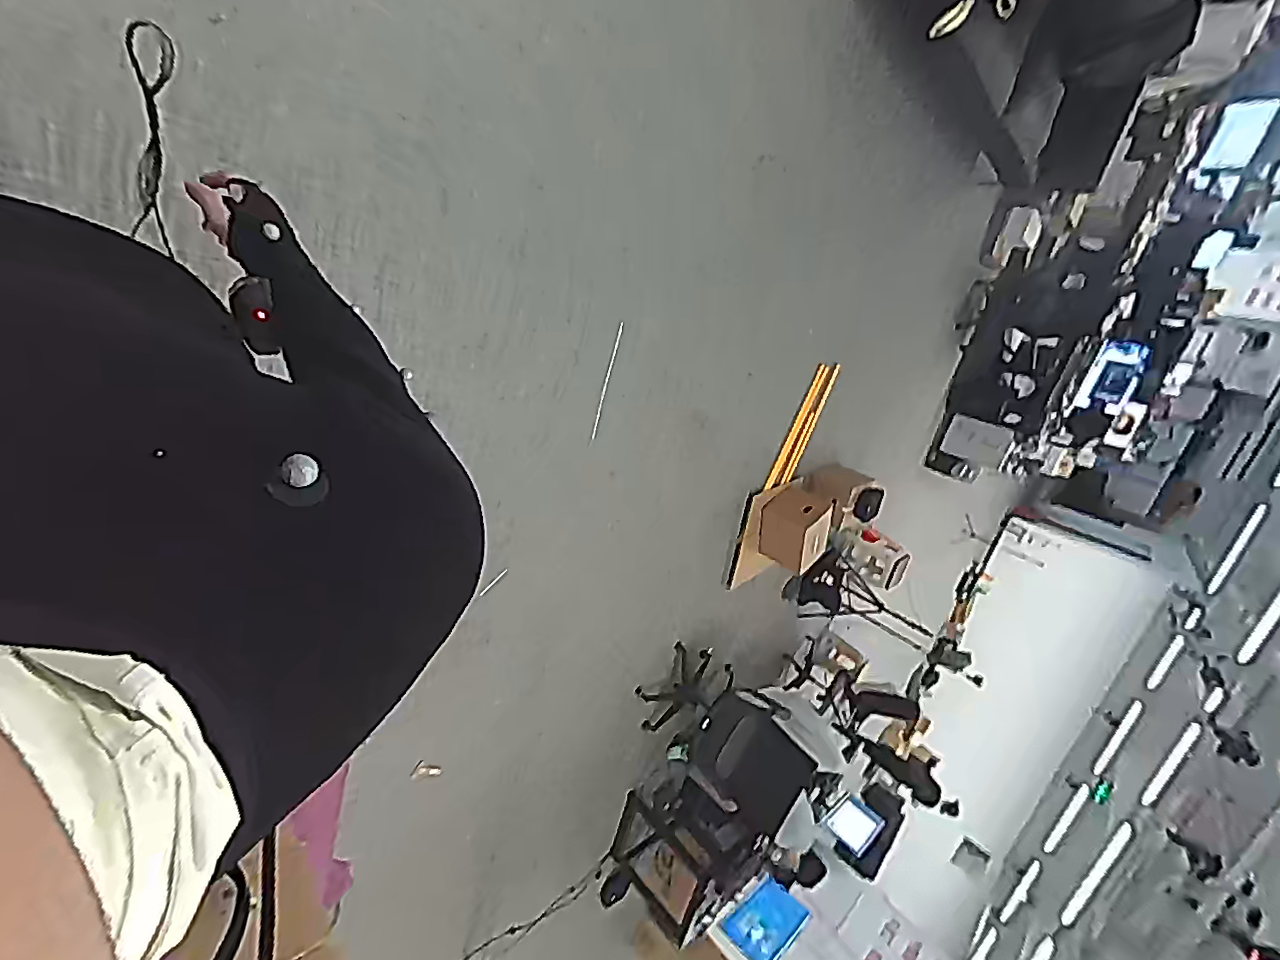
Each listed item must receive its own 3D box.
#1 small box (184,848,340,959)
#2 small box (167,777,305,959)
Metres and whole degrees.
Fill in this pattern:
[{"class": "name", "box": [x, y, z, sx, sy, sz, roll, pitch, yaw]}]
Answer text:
[{"class": "small box", "box": [-0.569, 0.717, 0.817, 0.168, 0.176, 0.179, -9, 118, -43]}, {"class": "small box", "box": [-0.684, 0.656, 0.918, 0.168, 0.176, 0.179, -8, 117, -44]}]
